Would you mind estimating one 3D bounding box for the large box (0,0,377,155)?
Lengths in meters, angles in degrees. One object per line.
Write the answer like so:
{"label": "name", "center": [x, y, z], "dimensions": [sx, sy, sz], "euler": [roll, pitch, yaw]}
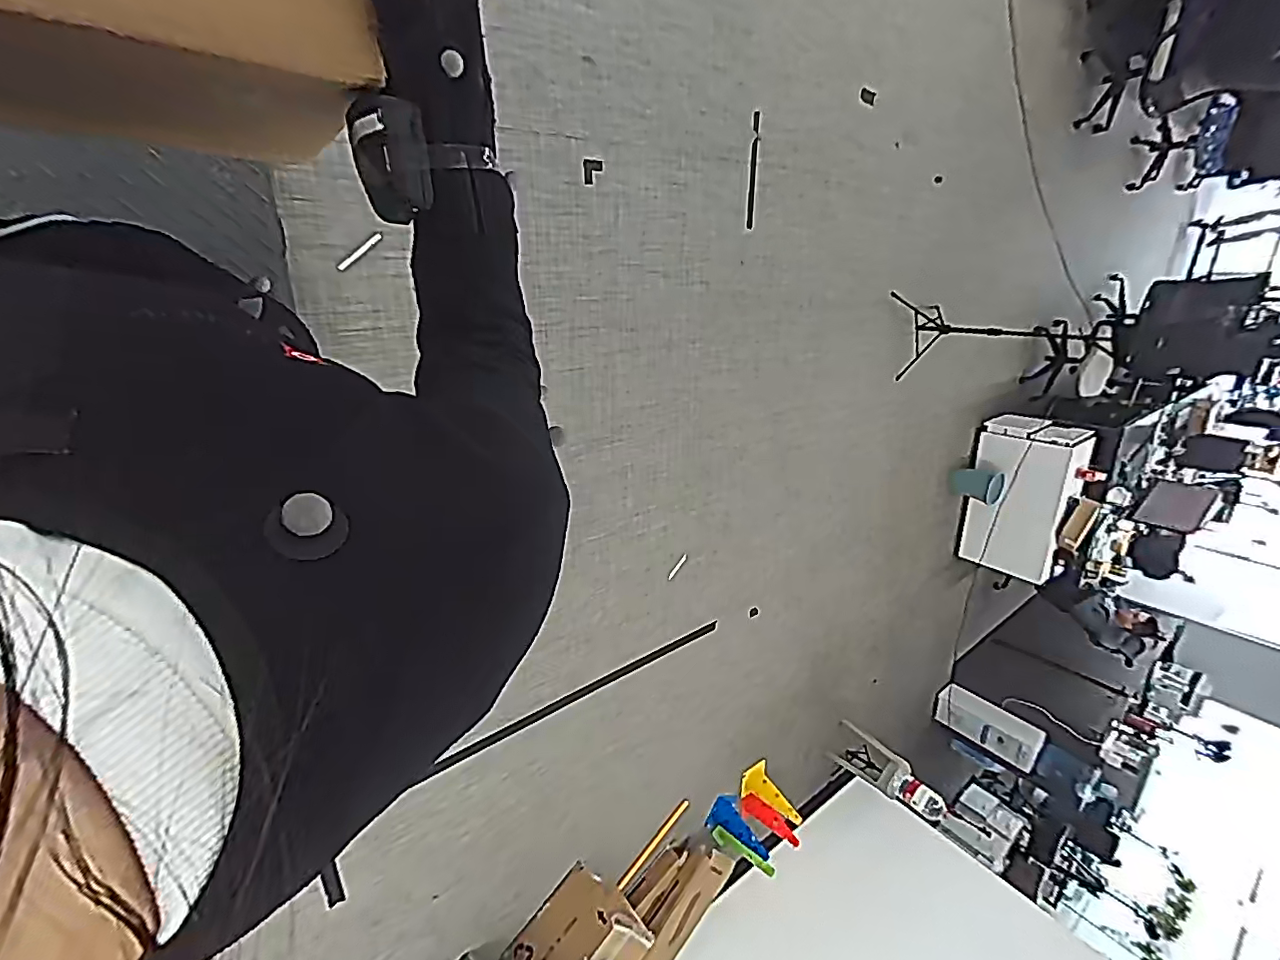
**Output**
{"label": "large box", "center": [-0.408, -0.387, 0.274], "dimensions": [0.408, 0.320, 0.320], "euler": [-15, 116, -36]}
